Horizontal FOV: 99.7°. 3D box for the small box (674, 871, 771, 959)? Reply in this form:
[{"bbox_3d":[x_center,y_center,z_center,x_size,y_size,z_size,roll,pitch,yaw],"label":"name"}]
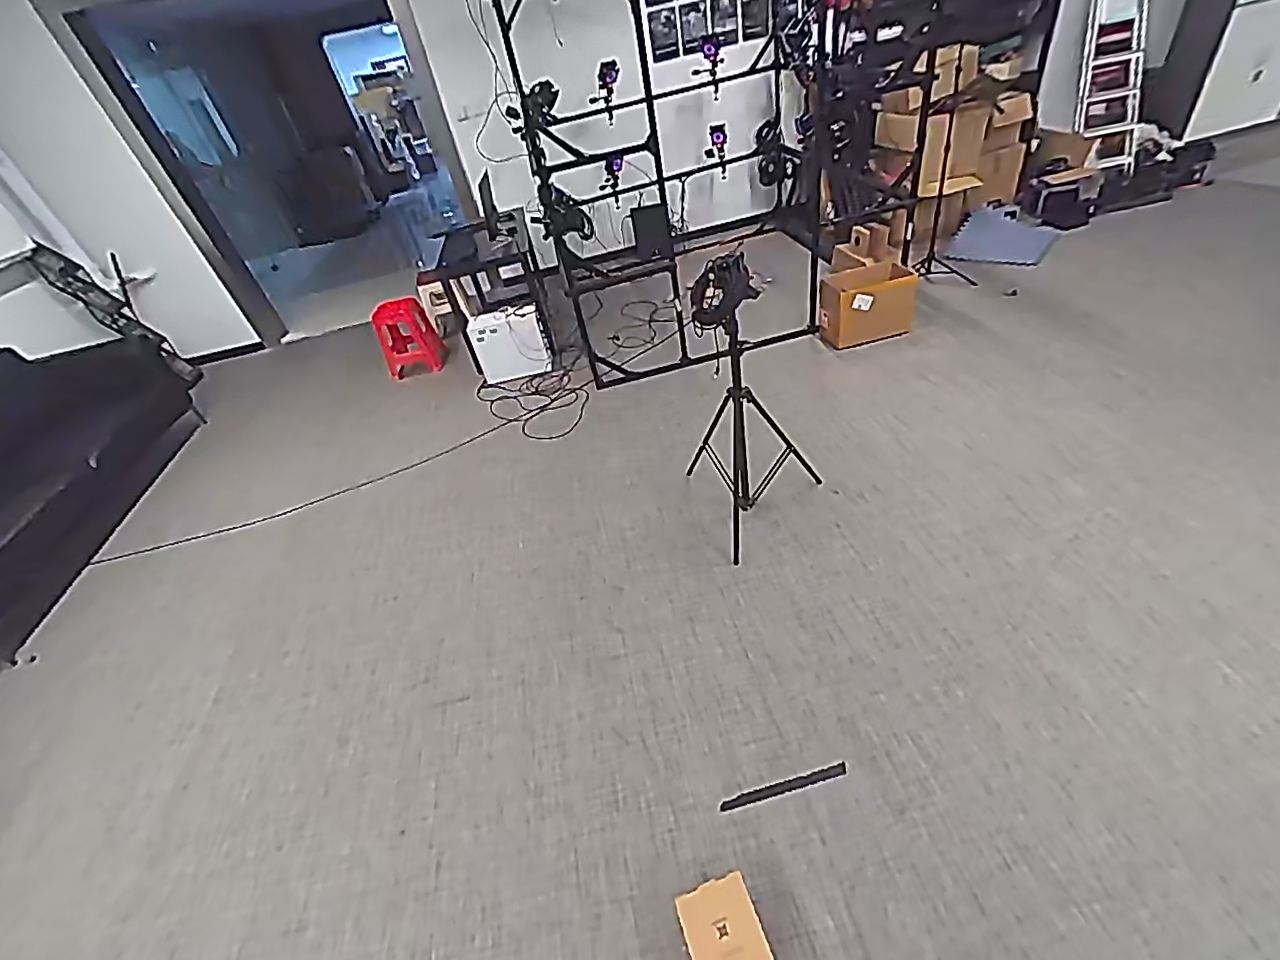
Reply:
[{"bbox_3d":[0.189,1.041,1.230,0.168,0.176,0.179,-19,40,-6],"label":"small box"}]
